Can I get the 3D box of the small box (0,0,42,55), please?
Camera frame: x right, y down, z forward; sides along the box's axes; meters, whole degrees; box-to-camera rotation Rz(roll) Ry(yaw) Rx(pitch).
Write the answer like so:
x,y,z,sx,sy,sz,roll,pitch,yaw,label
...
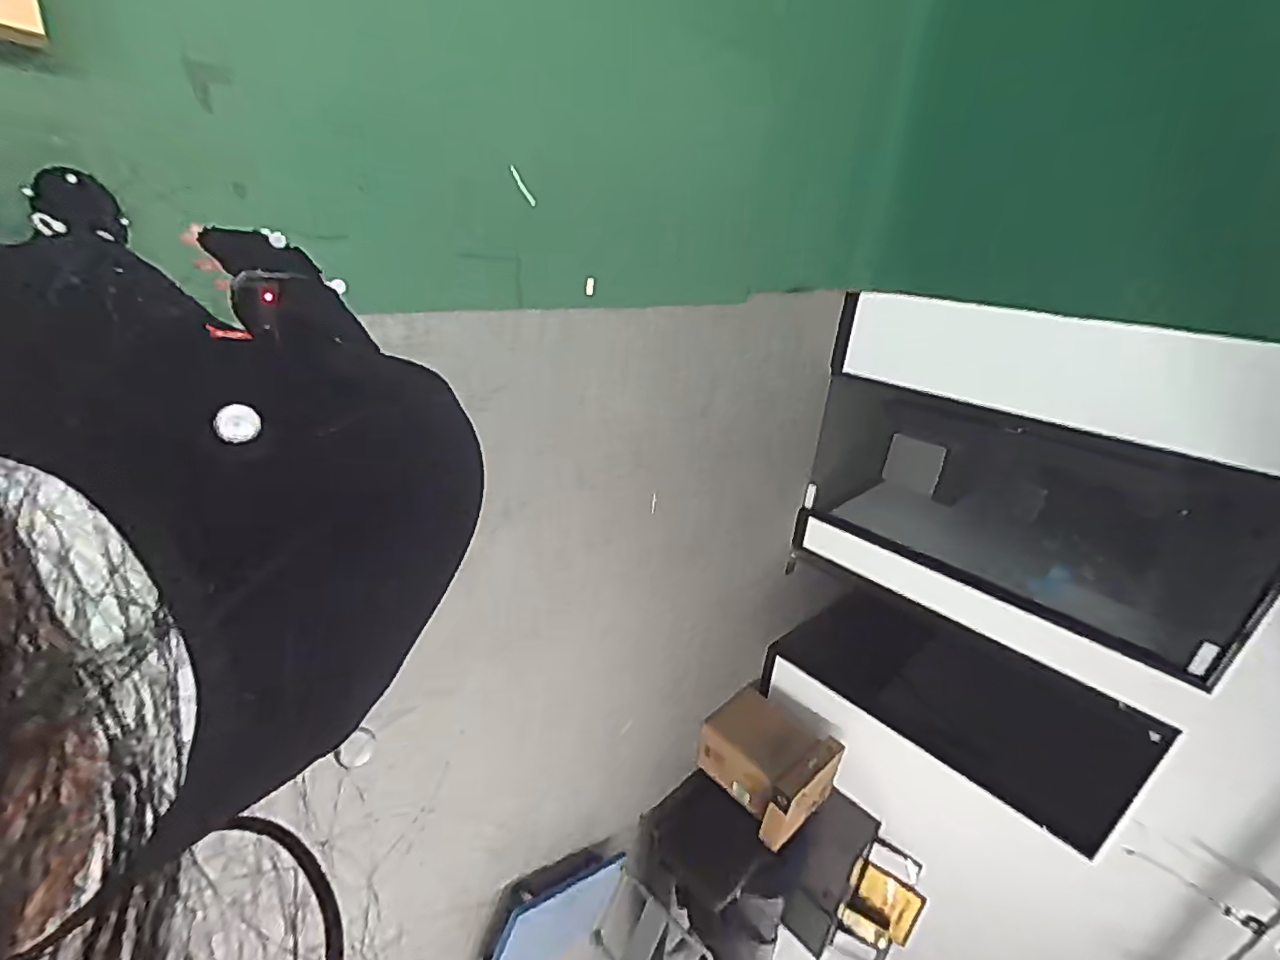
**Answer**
x,y,z,sx,sy,sz,roll,pitch,yaw,label
-0.988,-0.742,0.766,0.168,0.176,0.179,-12,118,-43,small box
